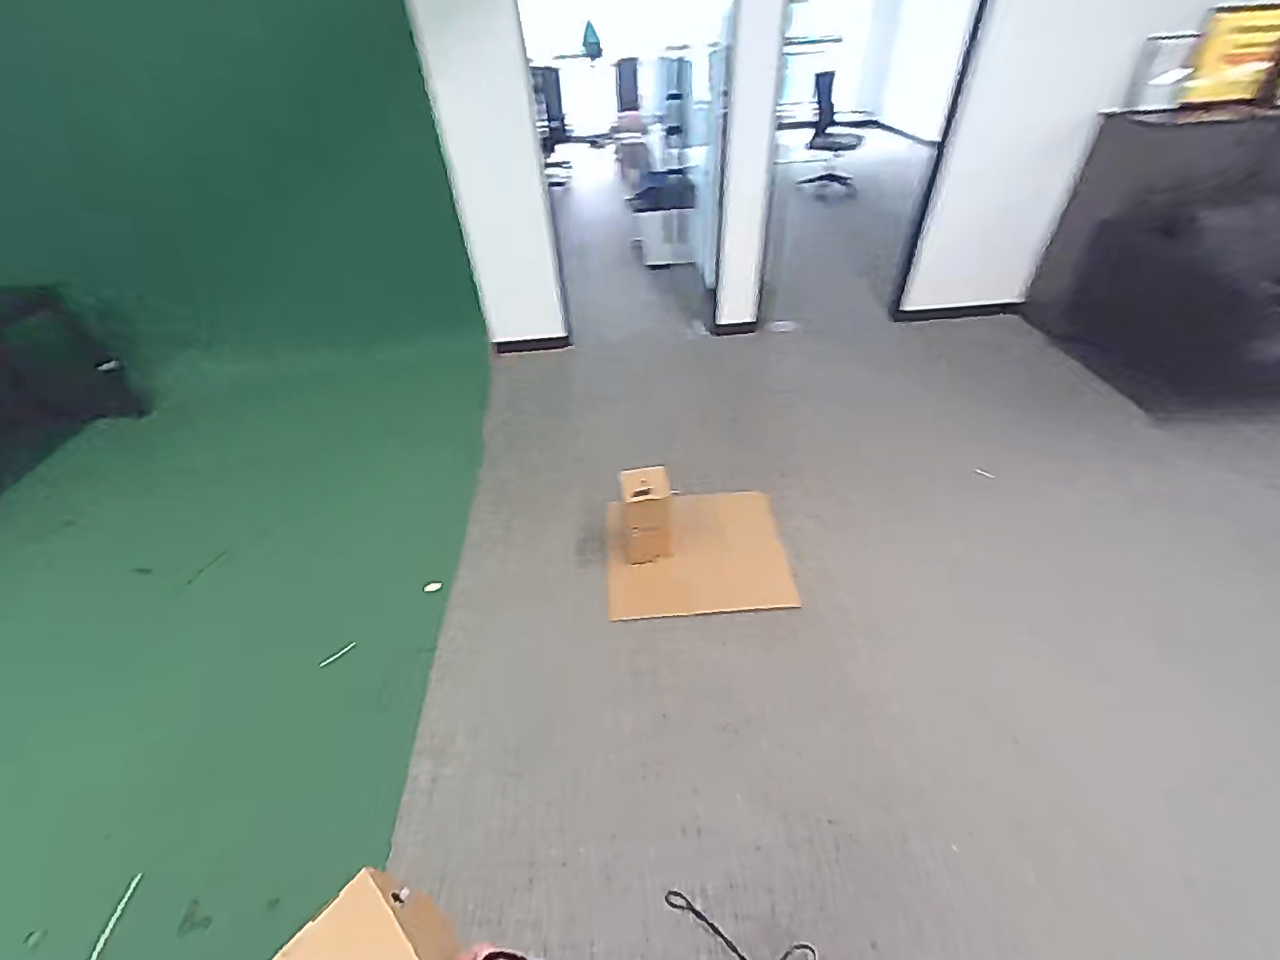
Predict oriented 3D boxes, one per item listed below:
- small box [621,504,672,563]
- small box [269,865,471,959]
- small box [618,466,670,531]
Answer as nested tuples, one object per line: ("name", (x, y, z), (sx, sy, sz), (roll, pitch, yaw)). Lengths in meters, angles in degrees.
("small box", (0.024, 0.197, 2.100), (0.168, 0.176, 0.179), (-9, 42, -7))
("small box", (-0.262, 0.533, 0.529), (0.179, 0.176, 0.168), (28, 55, 35))
("small box", (0.016, 0.074, 1.992), (0.168, 0.176, 0.179), (-7, 41, -4))
